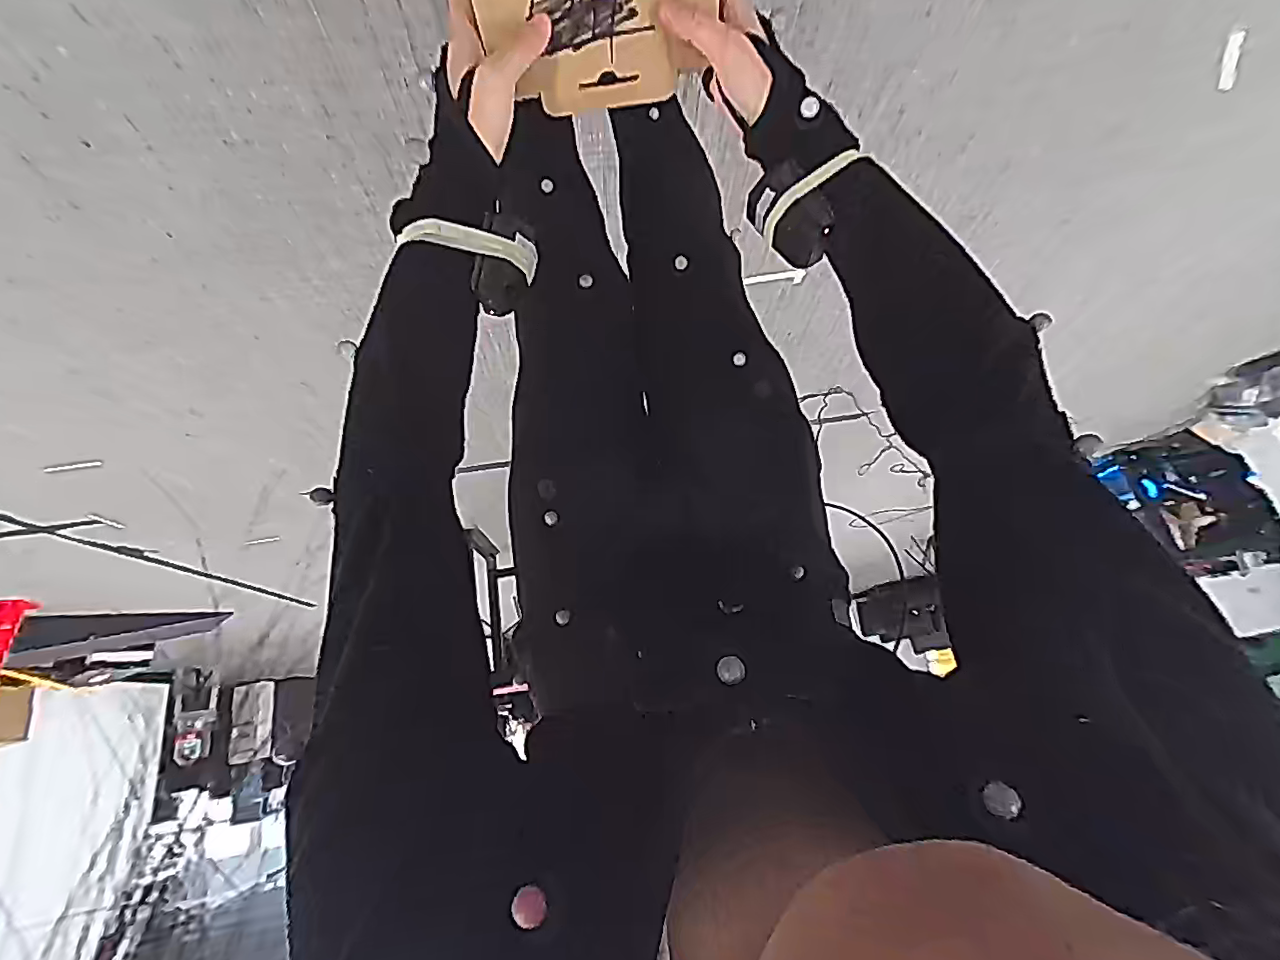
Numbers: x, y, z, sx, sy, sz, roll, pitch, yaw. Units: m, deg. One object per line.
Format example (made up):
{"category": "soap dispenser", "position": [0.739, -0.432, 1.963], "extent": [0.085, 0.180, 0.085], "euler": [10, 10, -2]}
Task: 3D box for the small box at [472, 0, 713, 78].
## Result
{"category": "small box", "position": [-0.046, -0.418, 0.368], "extent": [0.168, 0.176, 0.179], "euler": [-11, 144, -1]}
